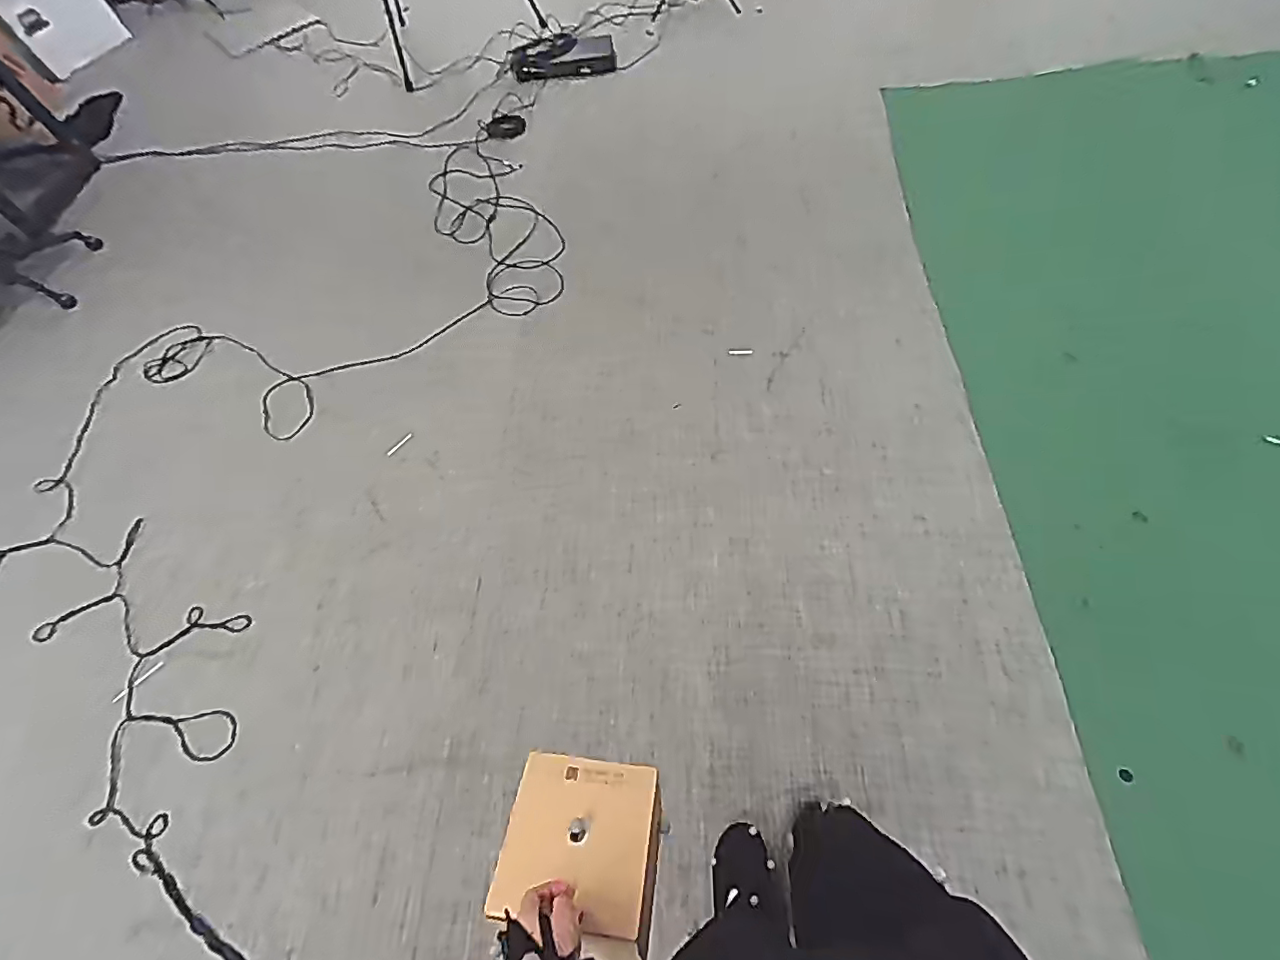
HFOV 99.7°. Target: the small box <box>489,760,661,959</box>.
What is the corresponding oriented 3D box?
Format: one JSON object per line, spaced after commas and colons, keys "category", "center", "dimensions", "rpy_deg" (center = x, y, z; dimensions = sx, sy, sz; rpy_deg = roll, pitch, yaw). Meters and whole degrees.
{"category": "small box", "center": [-0.065, 0.467, 0.665], "dimensions": [0.168, 0.179, 0.176], "rpy_deg": [3, 42, 8]}
